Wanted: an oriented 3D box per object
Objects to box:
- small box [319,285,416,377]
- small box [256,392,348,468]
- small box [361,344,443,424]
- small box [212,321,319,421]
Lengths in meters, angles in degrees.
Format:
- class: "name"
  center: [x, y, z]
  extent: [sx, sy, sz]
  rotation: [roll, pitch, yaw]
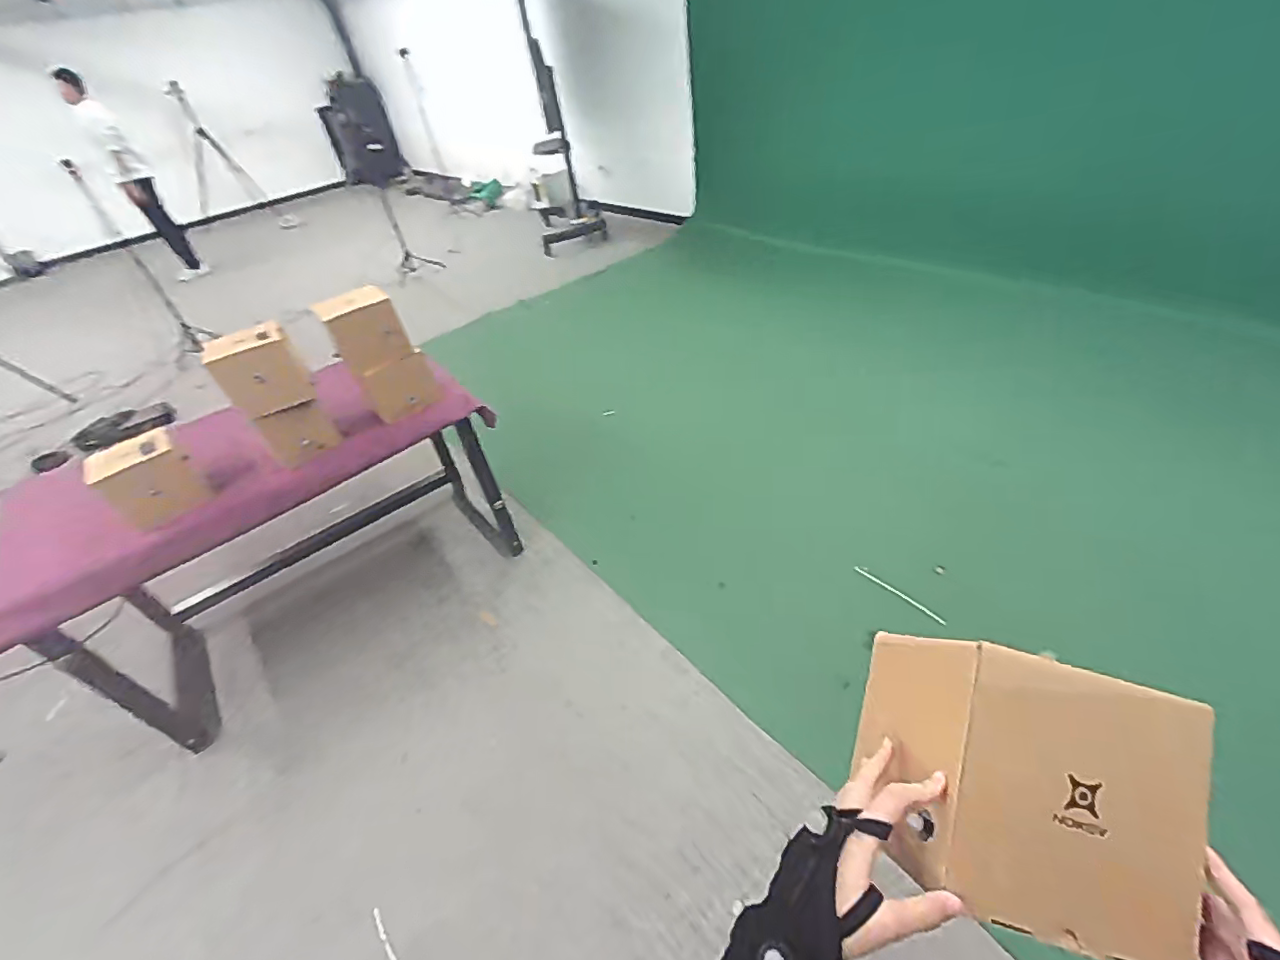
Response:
- class: "small box"
  center: [-0.750, -0.415, 1.506]
  extent: [0.179, 0.176, 0.168]
  rotation: [-32, 45, -22]
- class: "small box"
  center: [-0.957, -0.159, 1.508]
  extent: [0.168, 0.176, 0.179]
  rotation: [-38, 47, -28]
- class: "small box"
  center: [-0.713, -0.295, 1.612]
  extent: [0.179, 0.176, 0.168]
  rotation: [-36, 46, -26]
- class: "small box"
  center: [-0.954, -0.281, 1.394]
  extent: [0.179, 0.176, 0.168]
  rotation: [-27, 42, -17]
